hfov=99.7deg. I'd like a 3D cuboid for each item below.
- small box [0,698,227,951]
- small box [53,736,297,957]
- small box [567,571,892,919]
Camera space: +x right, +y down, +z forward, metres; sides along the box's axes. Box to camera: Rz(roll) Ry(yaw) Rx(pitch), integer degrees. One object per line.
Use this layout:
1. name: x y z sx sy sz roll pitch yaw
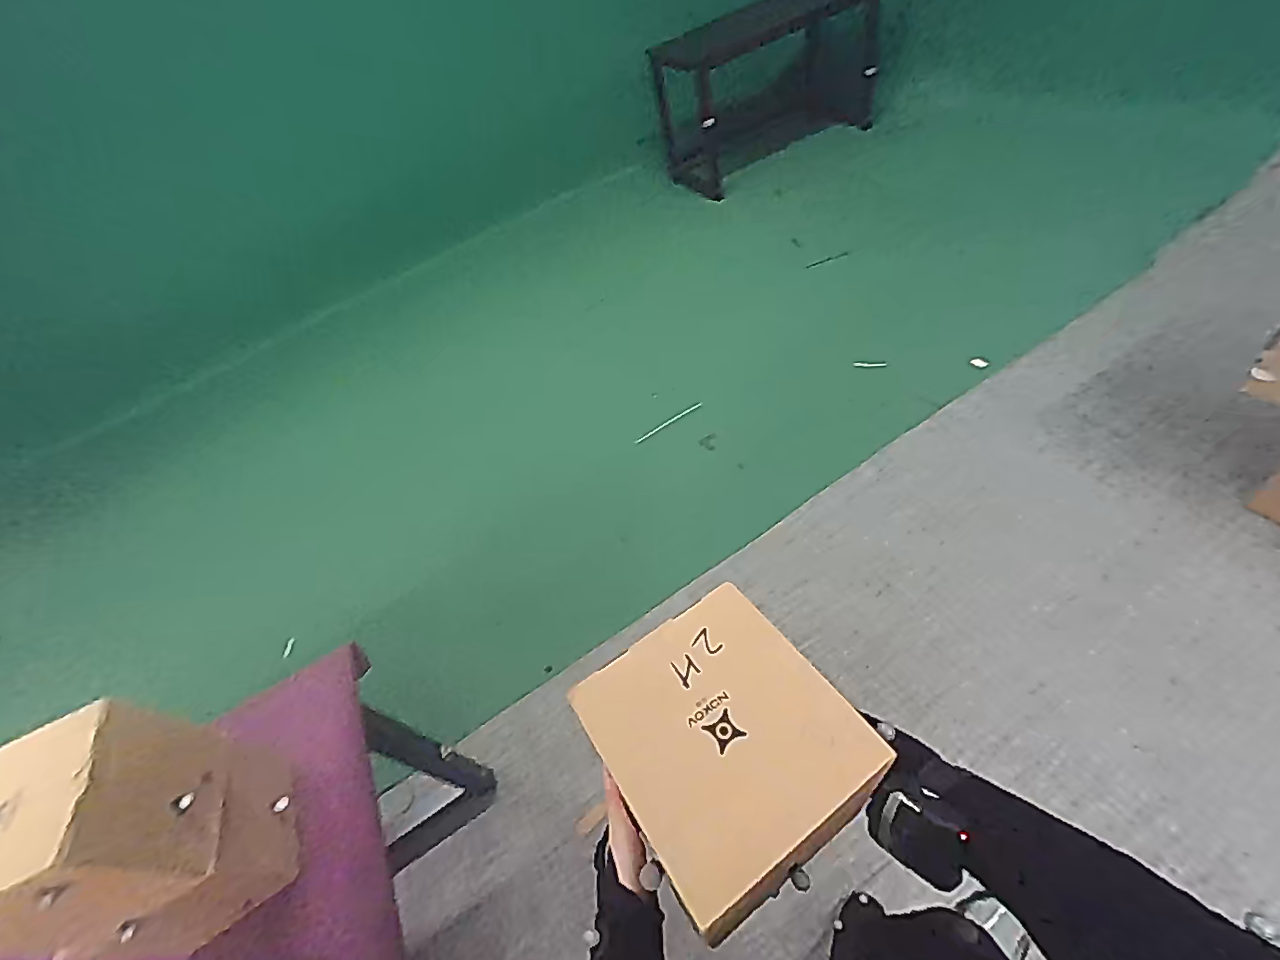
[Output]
1. small box: -0.607 0.377 0.588 0.179 0.176 0.168 -26 48 -5
2. small box: -0.590 0.482 0.714 0.168 0.176 0.179 -33 48 -10
3. small box: 0.066 0.216 0.442 0.168 0.176 0.179 -29 48 -17
